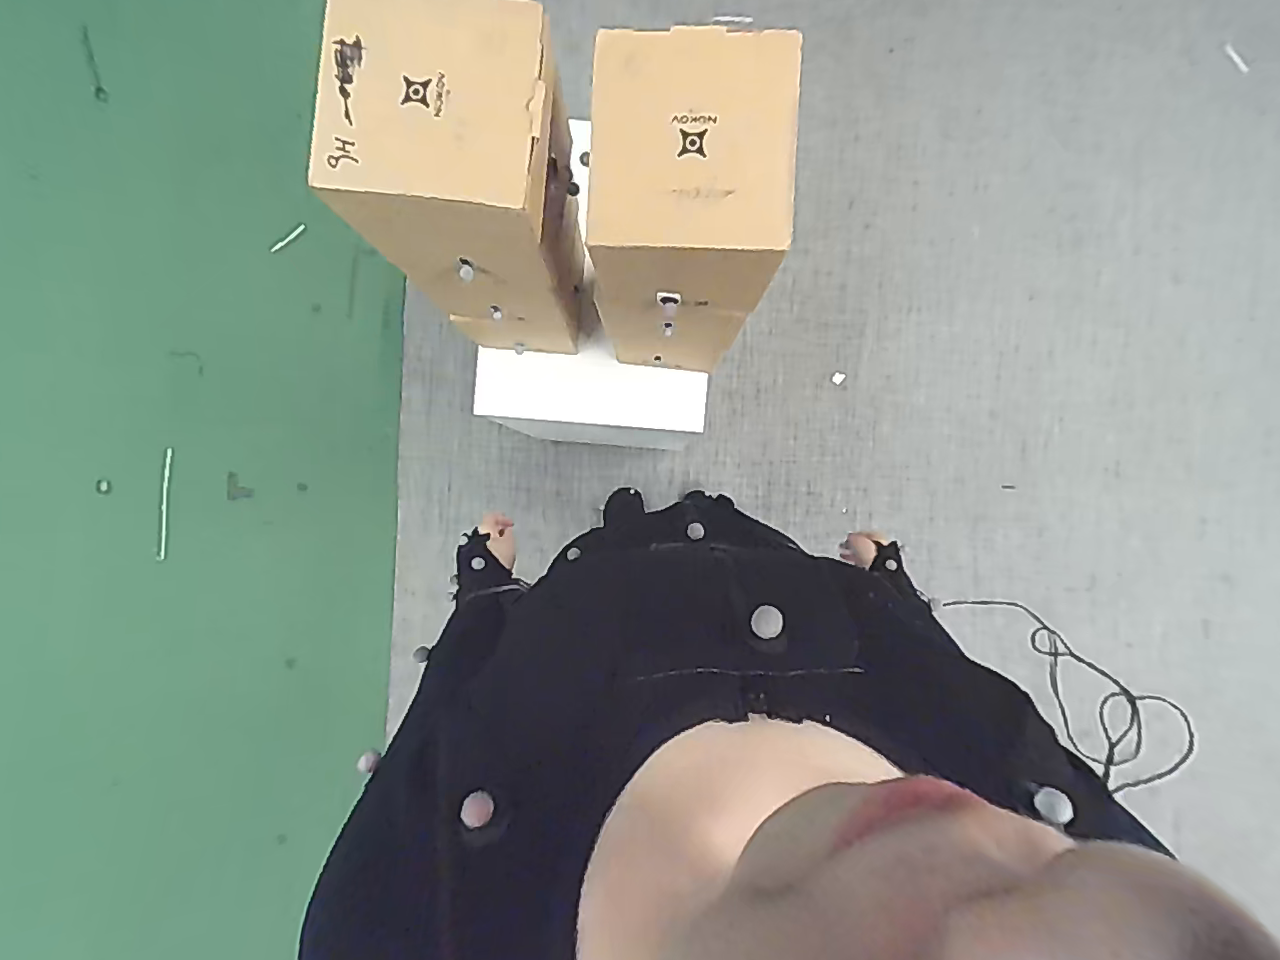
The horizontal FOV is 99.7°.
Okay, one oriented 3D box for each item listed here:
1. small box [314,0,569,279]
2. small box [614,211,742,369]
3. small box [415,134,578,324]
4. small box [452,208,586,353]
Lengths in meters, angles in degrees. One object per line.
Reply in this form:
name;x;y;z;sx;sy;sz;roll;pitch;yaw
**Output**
small box;-0.166;-0.304;0.510;0.179;0.176;0.168;6;90;-1
small box;0.054;-0.283;0.837;0.168;0.176;0.179;6;90;2
small box;-0.171;-0.313;0.674;0.168;0.176;0.179;6;90;0
small box;-0.177;-0.309;0.838;0.168;0.176;0.179;5;91;0
